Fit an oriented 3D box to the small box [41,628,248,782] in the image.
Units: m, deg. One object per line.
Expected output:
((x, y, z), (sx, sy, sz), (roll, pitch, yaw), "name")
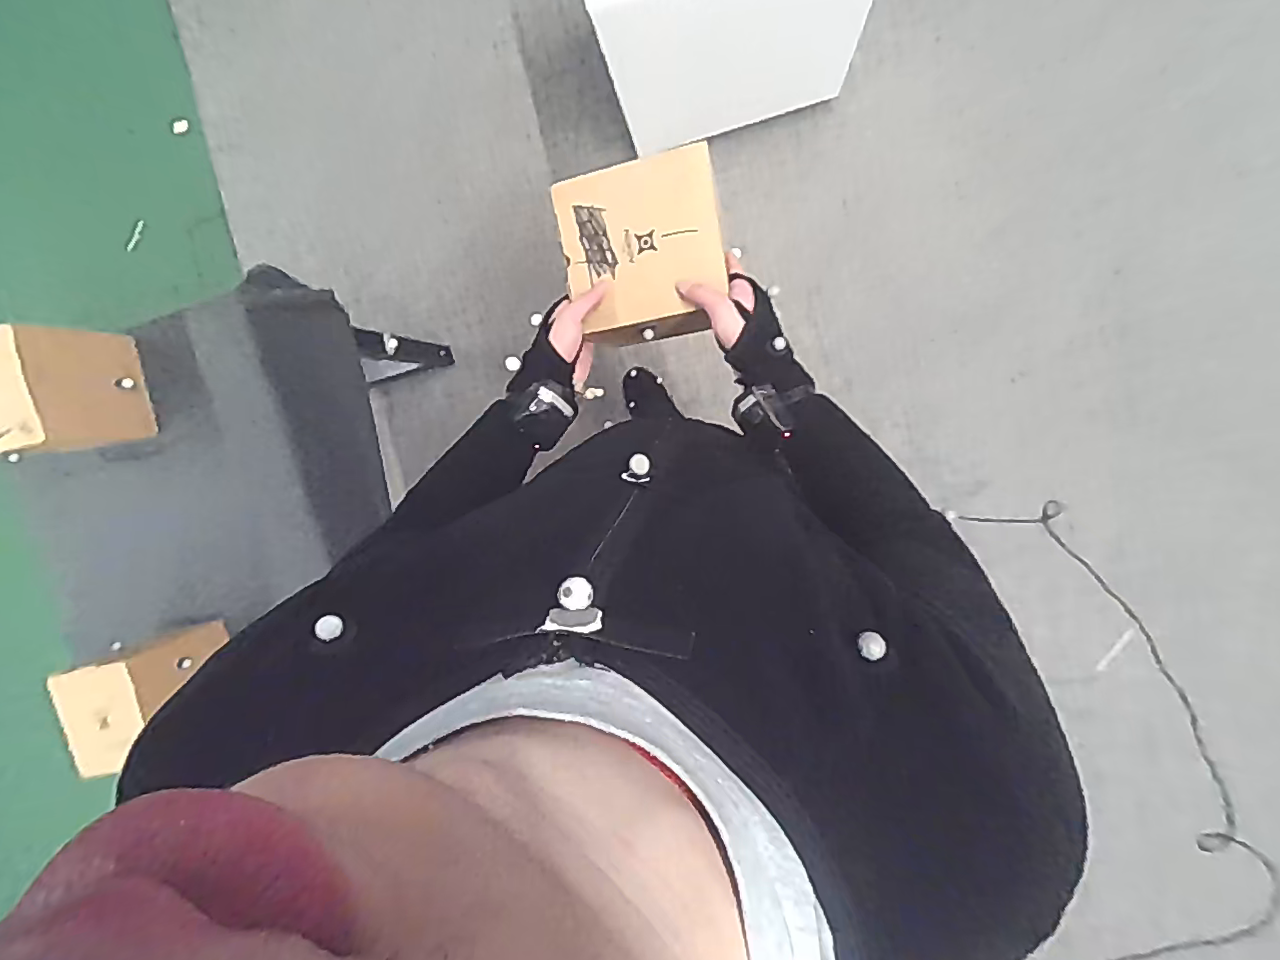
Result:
((-0.818, 0.366, 0.911), (0.168, 0.176, 0.179), (-14, 97, 11), "small box")

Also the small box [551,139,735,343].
((0.015, -0.265, 0.648), (0.179, 0.176, 0.168), (-8, 98, 12), "small box")

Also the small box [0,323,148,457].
((-0.943, -0.133, 0.851), (0.168, 0.176, 0.179), (-9, 97, 9), "small box")
